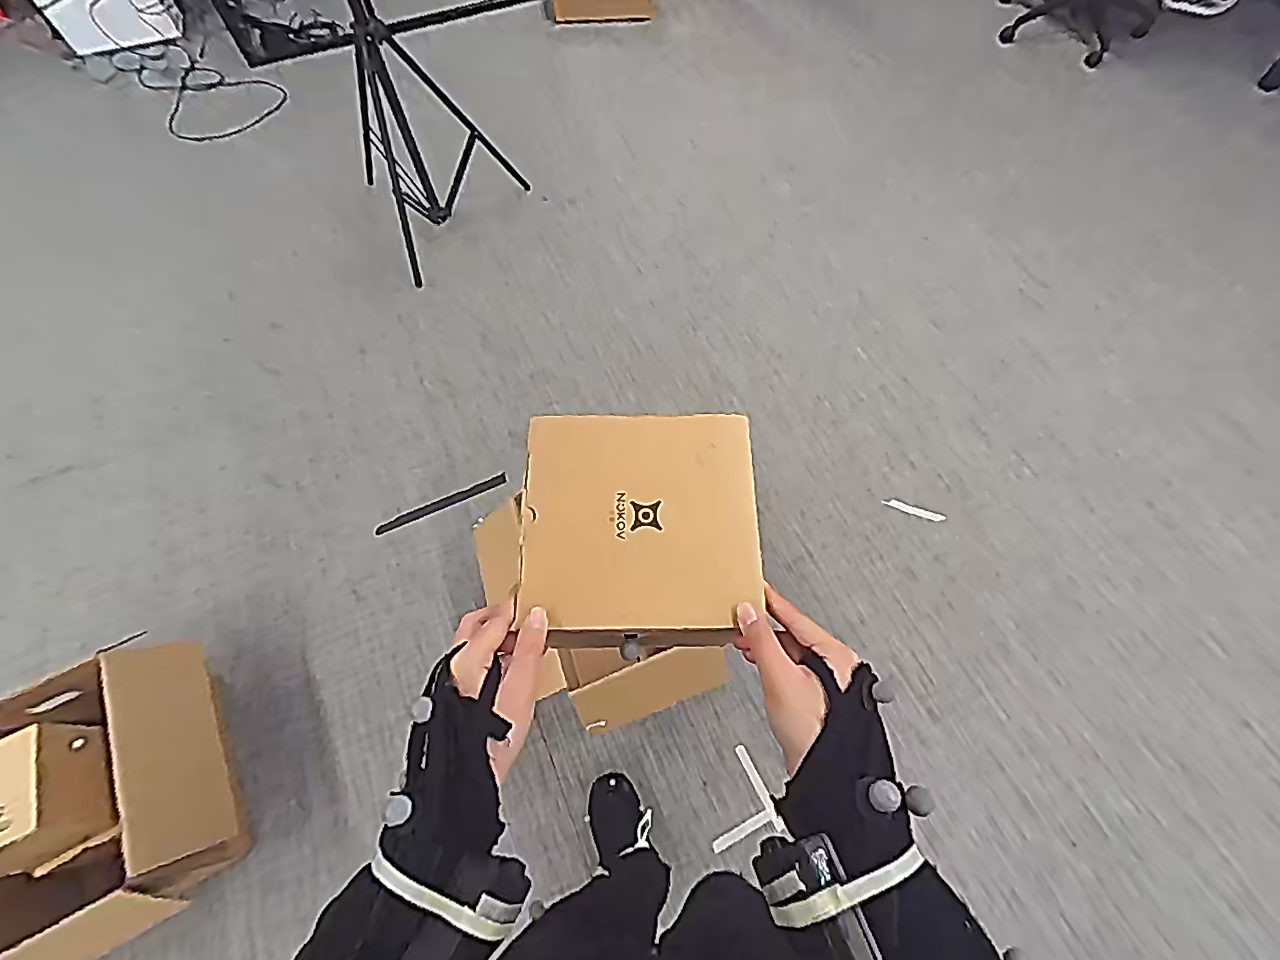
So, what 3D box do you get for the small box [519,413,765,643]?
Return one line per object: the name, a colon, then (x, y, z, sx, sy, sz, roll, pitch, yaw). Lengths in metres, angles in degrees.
small box: (0.000, 0.052, 0.480, 0.179, 0.176, 0.168, -1, 69, 0)
